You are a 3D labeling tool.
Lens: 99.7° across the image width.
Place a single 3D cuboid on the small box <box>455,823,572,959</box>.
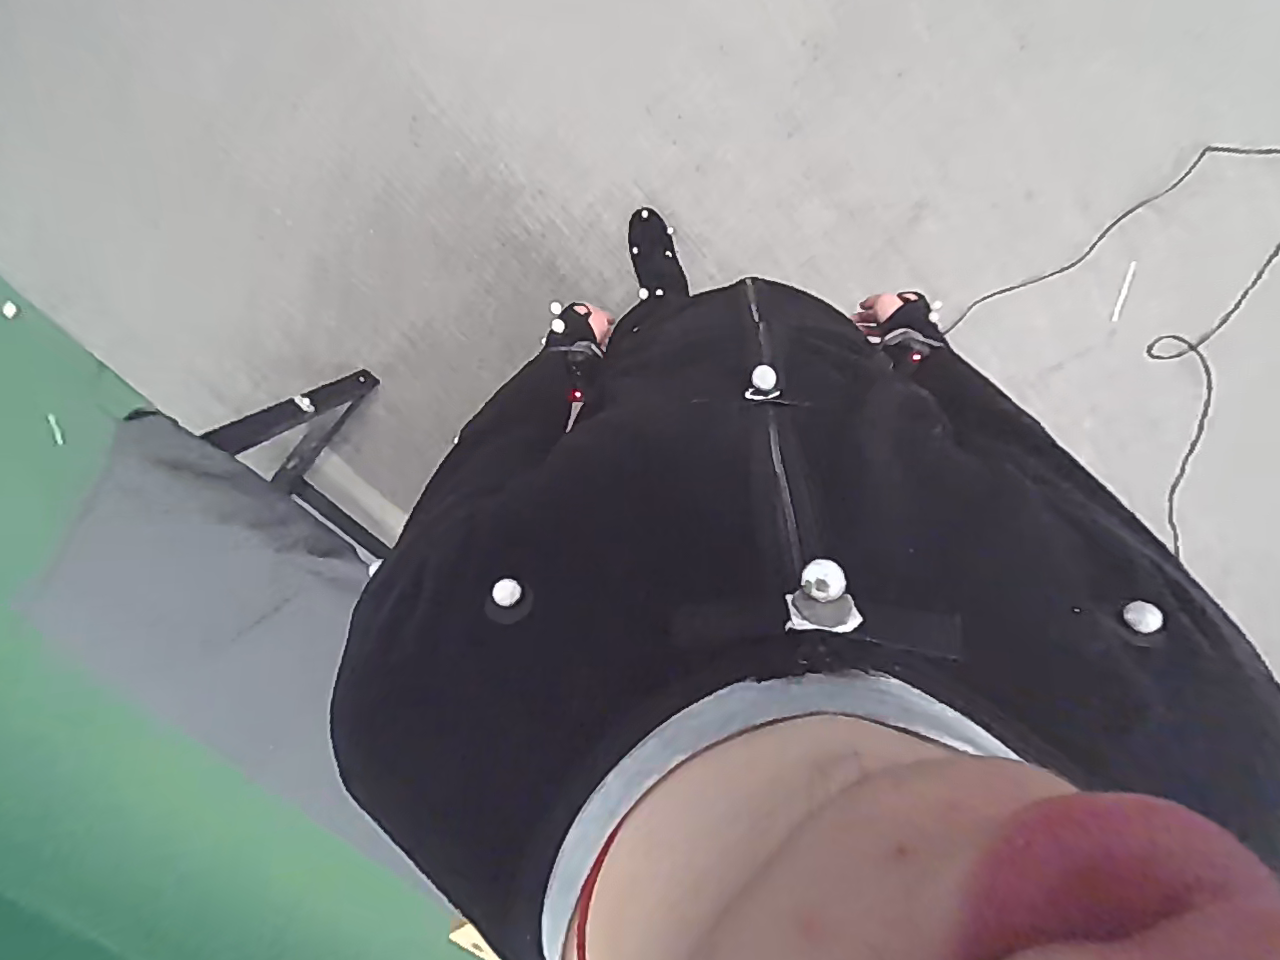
[{"bbox_3d":[-0.266,0.898,1.184,0.168,0.176,0.179,42,110,-12],"label":"small box"}]
